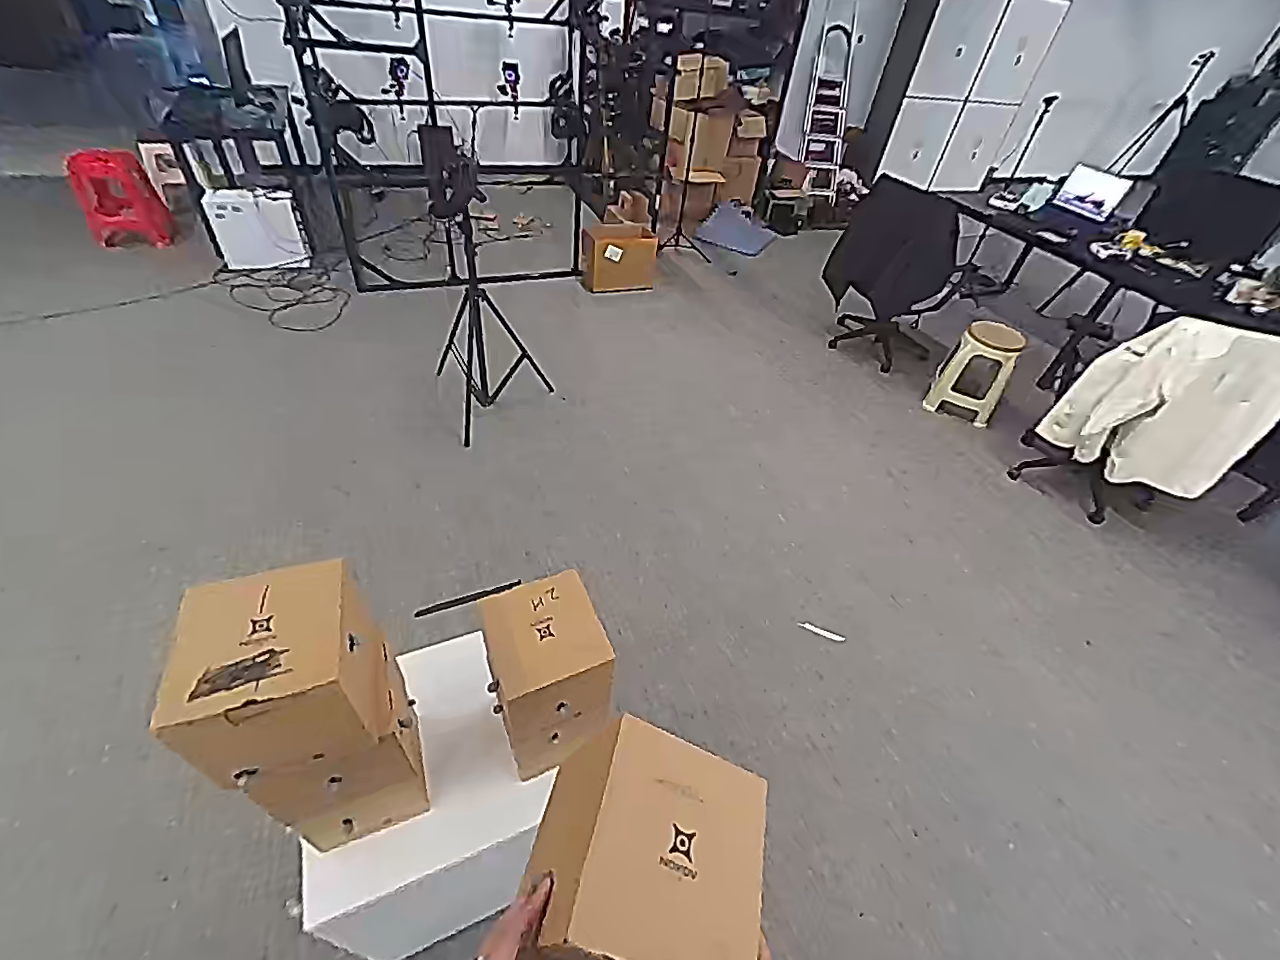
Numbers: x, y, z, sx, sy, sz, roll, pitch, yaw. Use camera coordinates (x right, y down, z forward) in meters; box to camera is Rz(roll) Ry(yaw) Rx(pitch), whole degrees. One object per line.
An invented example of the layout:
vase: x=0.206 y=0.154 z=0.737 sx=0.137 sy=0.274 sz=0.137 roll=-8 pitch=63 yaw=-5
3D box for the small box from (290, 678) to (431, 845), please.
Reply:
small box: x=-0.447 y=0.461 z=0.878 sx=0.168 sy=0.176 sz=0.179 roll=-12 pitch=47 yaw=-21

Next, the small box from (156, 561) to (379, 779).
small box: x=-0.419 y=0.229 z=0.646 sx=0.168 sy=0.176 sz=0.179 roll=-10 pitch=45 yaw=-18

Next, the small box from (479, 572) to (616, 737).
small box: x=-0.146 y=0.283 z=0.864 sx=0.168 sy=0.176 sz=0.179 roll=-15 pitch=48 yaw=-21

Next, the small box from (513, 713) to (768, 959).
small box: x=-0.001 y=0.359 z=0.507 sx=0.168 sy=0.176 sz=0.179 roll=30 pitch=41 yaw=-10

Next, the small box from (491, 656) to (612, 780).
small box: x=-0.161 y=0.401 z=0.978 sx=0.168 sy=0.176 sz=0.179 roll=-16 pitch=48 yaw=-21
